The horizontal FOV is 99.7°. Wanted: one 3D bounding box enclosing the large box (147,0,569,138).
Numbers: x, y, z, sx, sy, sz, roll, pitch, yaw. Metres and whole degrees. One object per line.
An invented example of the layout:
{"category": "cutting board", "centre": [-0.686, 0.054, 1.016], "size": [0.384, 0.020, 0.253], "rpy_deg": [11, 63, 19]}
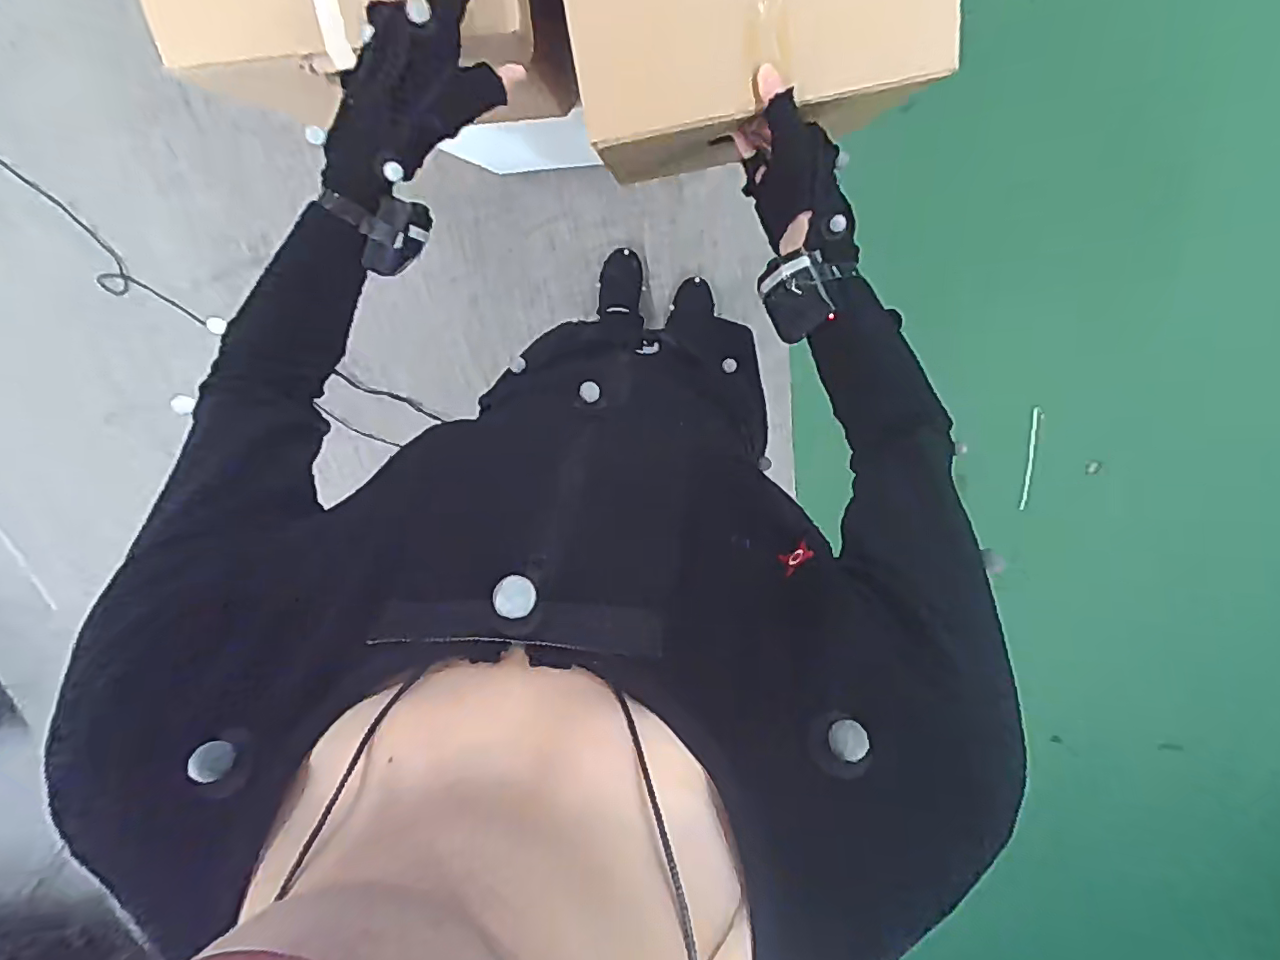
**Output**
{"category": "large box", "centre": [-0.266, -0.605, 0.521], "size": [0.320, 0.320, 0.408], "rpy_deg": [-3, 112, 3]}
